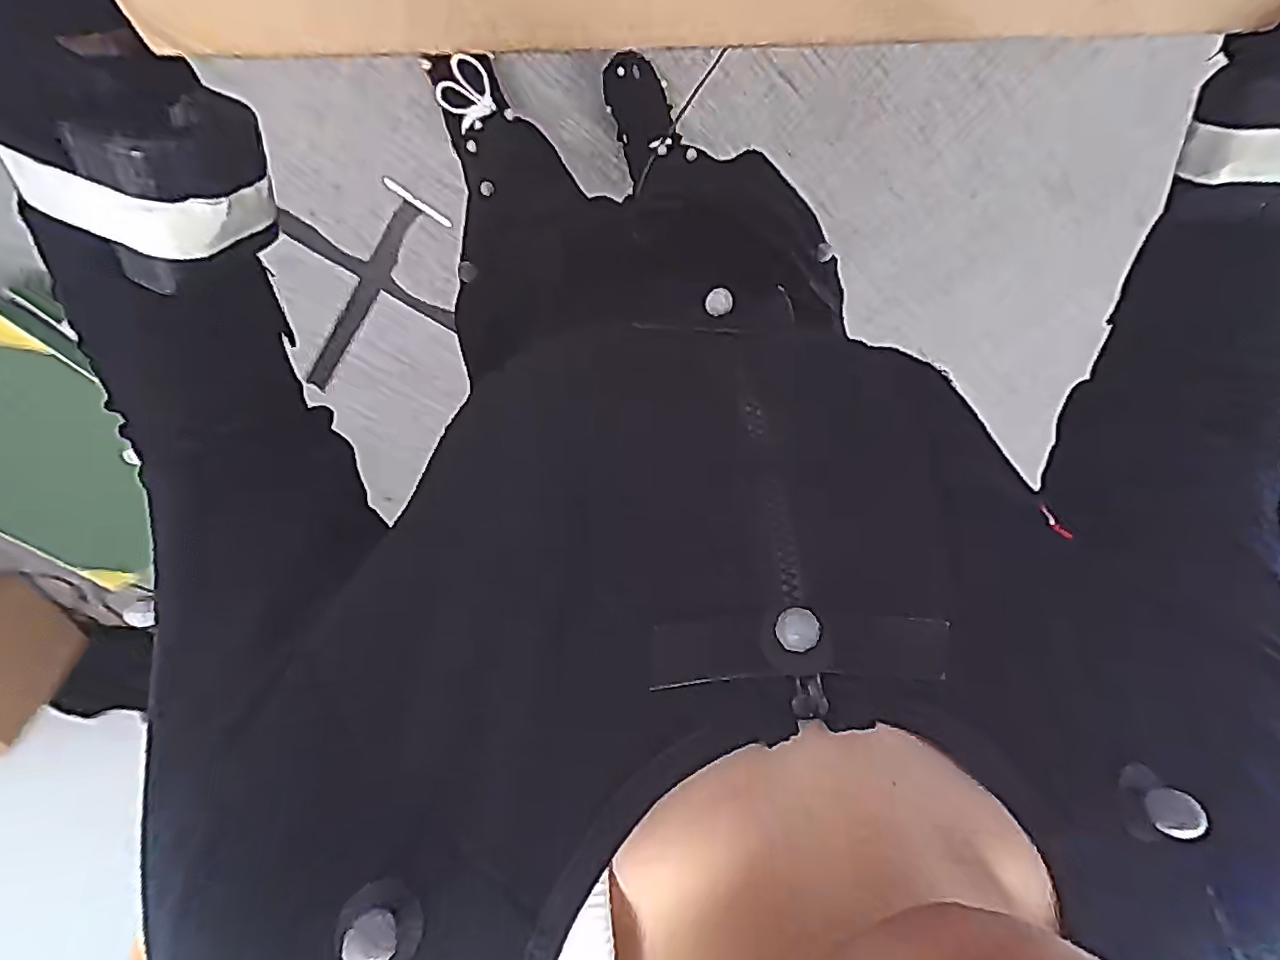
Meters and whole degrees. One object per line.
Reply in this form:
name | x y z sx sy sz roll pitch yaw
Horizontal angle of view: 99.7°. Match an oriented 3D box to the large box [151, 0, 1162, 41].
large box | 0.020 -0.377 0.146 0.408 0.320 0.320 -5 147 -4
